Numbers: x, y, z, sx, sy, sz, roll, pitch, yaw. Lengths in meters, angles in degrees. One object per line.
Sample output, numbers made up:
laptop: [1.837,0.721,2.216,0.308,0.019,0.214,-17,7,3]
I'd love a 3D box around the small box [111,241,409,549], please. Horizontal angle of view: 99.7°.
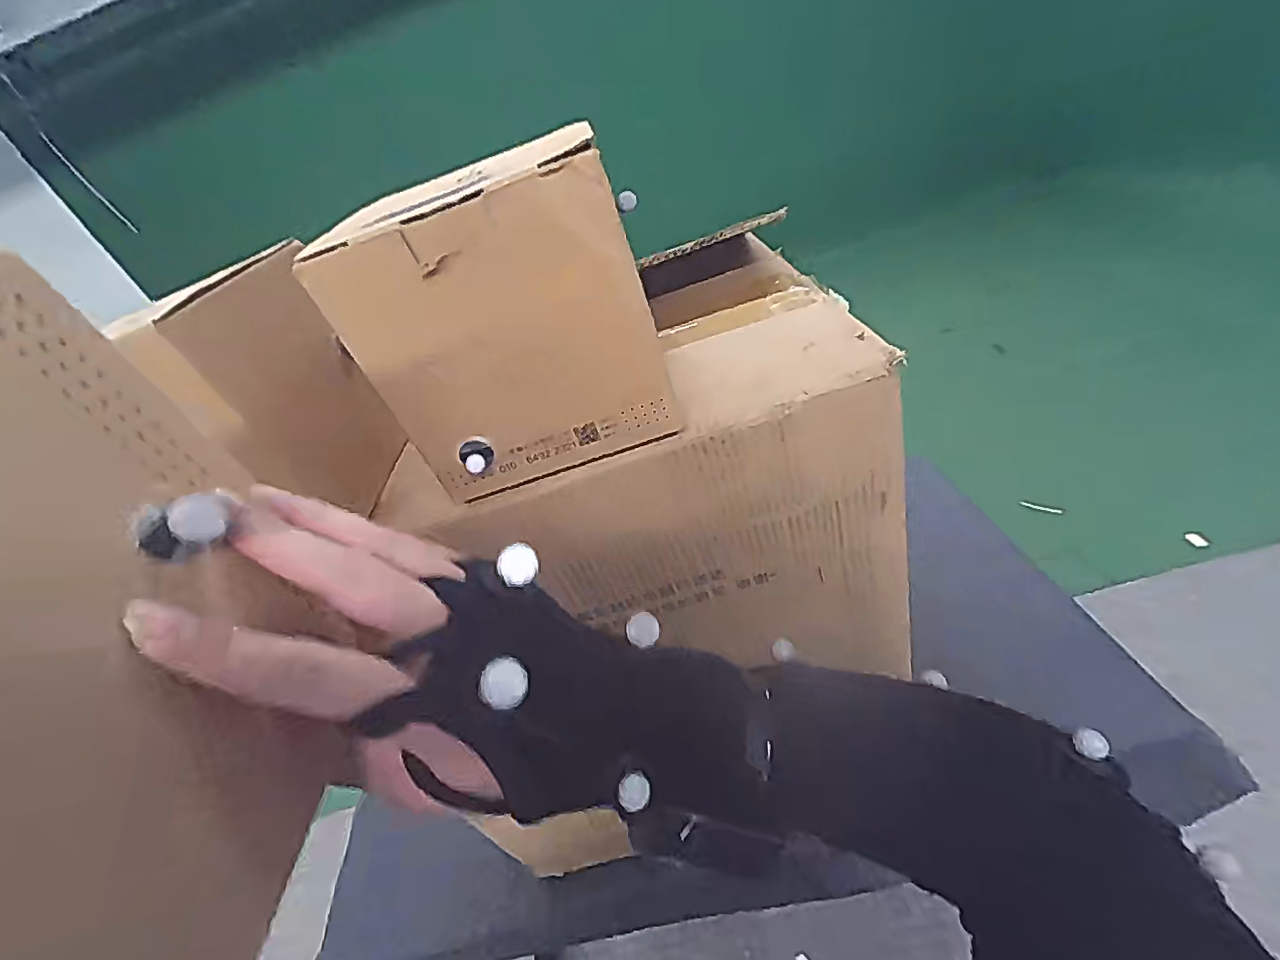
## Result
small box: [-0.302,-0.046,0.403,0.168,0.176,0.179,-20,38,8]

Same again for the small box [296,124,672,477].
small box: [-0.085,-0.121,0.380,0.168,0.176,0.179,-18,36,4]

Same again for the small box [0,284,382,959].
small box: [-0.207,0.063,0.139,0.168,0.179,0.176,-25,30,7]
